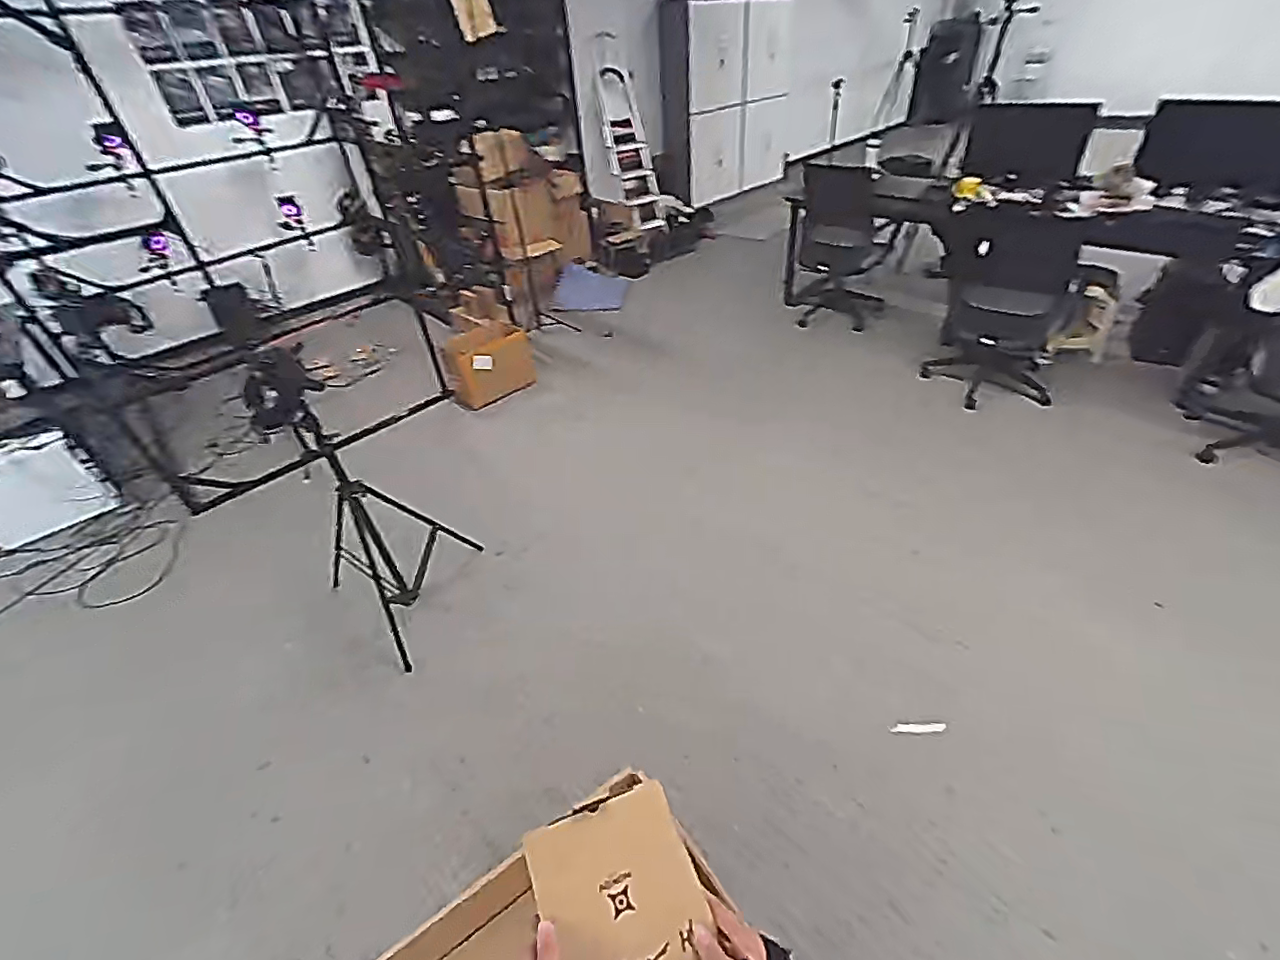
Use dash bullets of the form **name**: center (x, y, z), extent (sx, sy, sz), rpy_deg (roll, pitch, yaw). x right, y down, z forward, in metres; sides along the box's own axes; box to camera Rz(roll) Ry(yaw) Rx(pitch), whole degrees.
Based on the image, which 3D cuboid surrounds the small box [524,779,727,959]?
- **small box**: center (-0.026, 0.481, 0.609), extent (0.168, 0.176, 0.179), rpy_deg (-14, 48, -18)
